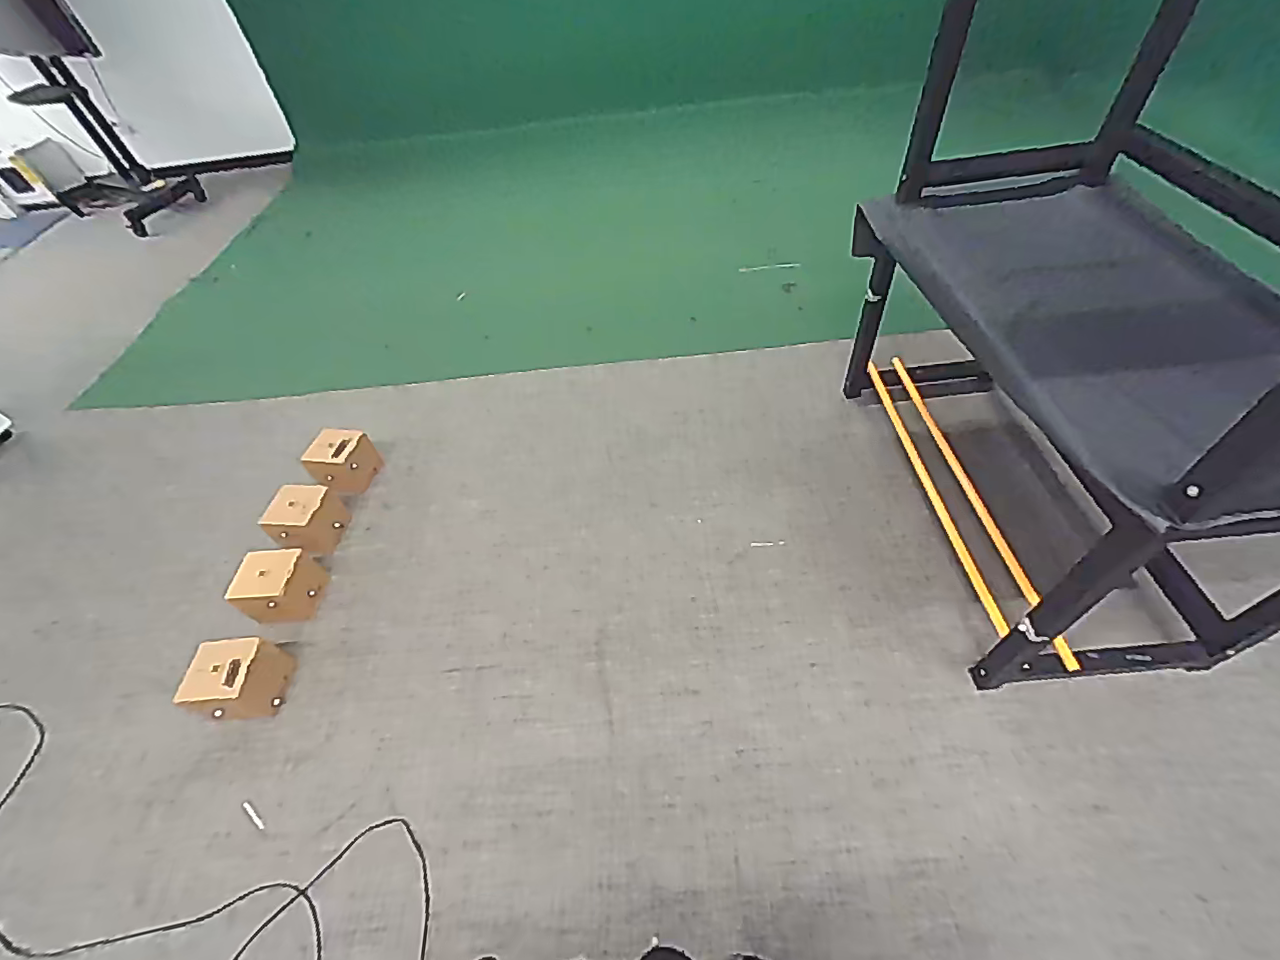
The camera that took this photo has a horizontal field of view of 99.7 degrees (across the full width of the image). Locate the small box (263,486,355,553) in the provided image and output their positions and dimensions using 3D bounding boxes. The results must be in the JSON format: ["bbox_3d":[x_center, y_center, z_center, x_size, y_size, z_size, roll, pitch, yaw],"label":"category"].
[{"bbox_3d":[-1.127,0.139,1.854,0.179,0.176,0.168,2,51,8],"label":"small box"}]

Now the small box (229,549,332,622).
[{"bbox_3d":[-1.112,0.334,1.688,0.179,0.176,0.168,-4,50,3],"label":"small box"}]

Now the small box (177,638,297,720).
[{"bbox_3d":[-1.101,0.553,1.498,0.179,0.176,0.168,-6,49,3],"label":"small box"}]
